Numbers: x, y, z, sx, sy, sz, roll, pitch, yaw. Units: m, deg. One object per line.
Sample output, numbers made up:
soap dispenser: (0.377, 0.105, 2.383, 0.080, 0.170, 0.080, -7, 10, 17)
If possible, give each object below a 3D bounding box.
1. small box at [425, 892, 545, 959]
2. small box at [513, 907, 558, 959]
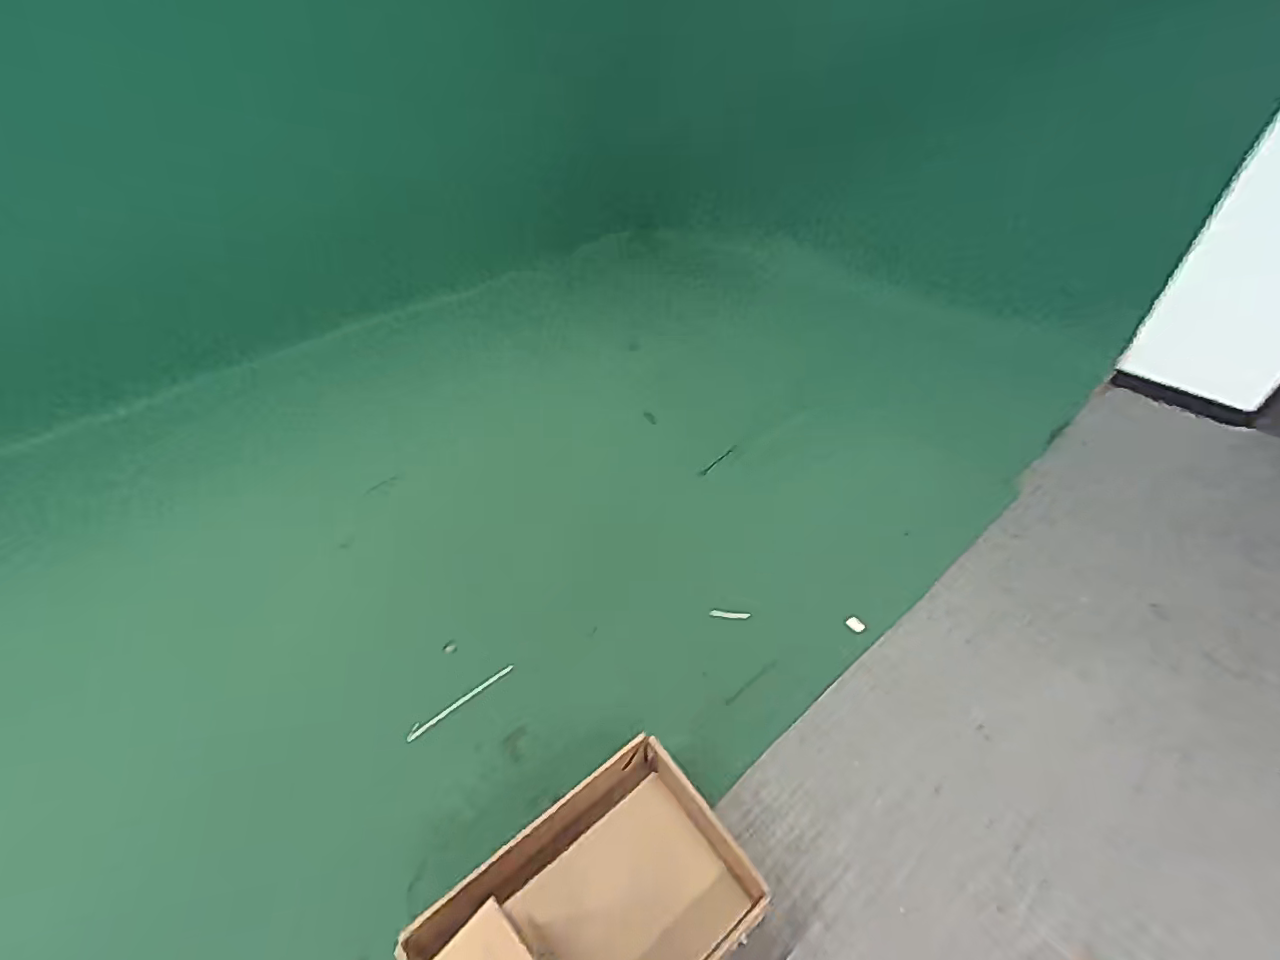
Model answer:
small box: (-0.250, 0.823, 0.870, 0.168, 0.176, 0.179, 33, 53, 29)
small box: (-0.240, 0.937, 0.988, 0.179, 0.176, 0.168, -30, 51, -23)
